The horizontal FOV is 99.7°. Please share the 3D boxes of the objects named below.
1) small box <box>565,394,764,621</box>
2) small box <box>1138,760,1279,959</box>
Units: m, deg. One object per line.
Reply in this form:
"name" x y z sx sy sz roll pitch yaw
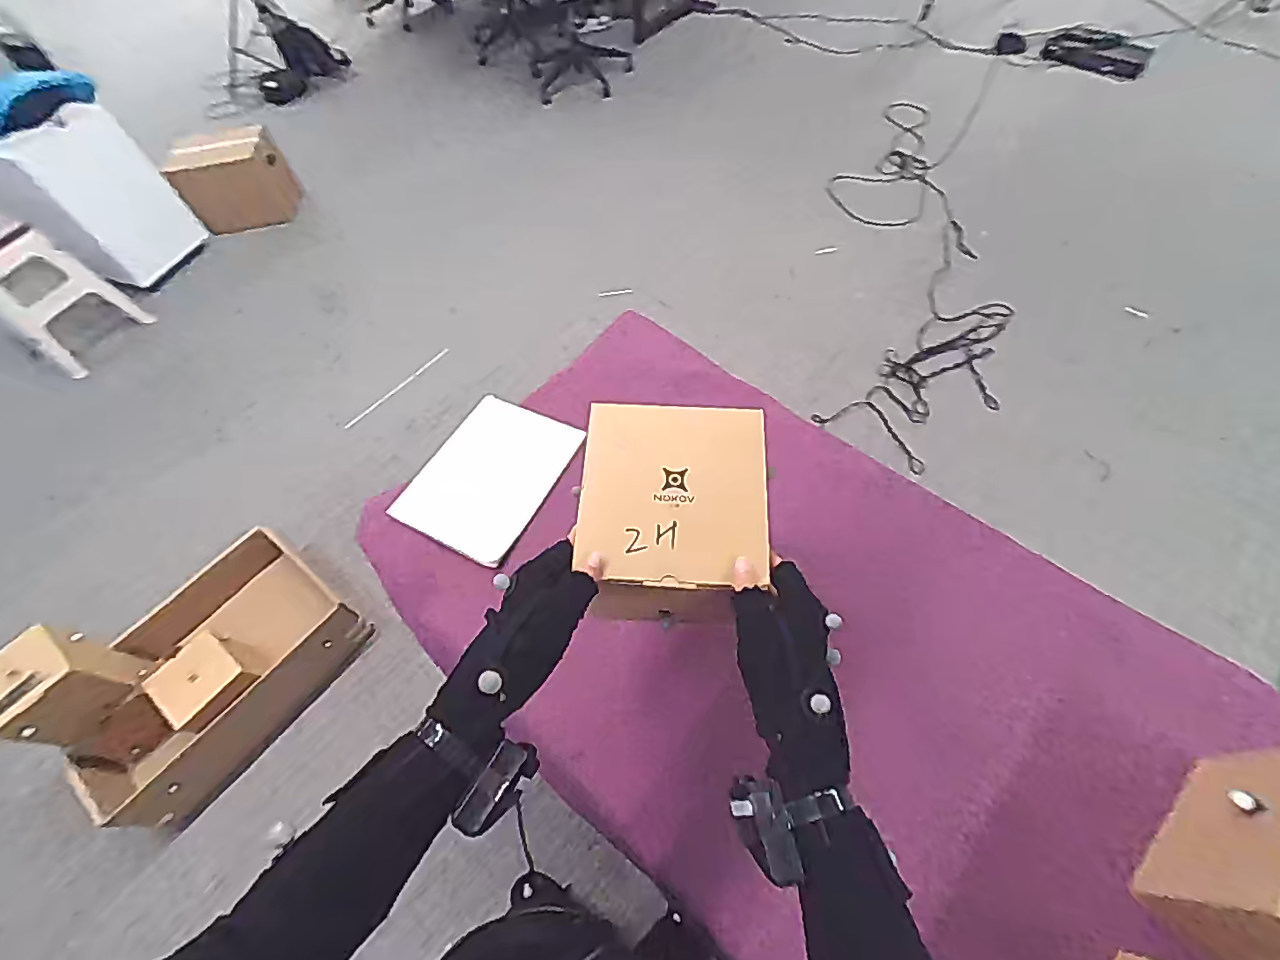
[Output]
"small box" 0.026 0.035 0.546 0.168 0.176 0.179 3 66 3
"small box" 0.588 0.359 0.455 0.179 0.176 0.168 -38 62 -18
